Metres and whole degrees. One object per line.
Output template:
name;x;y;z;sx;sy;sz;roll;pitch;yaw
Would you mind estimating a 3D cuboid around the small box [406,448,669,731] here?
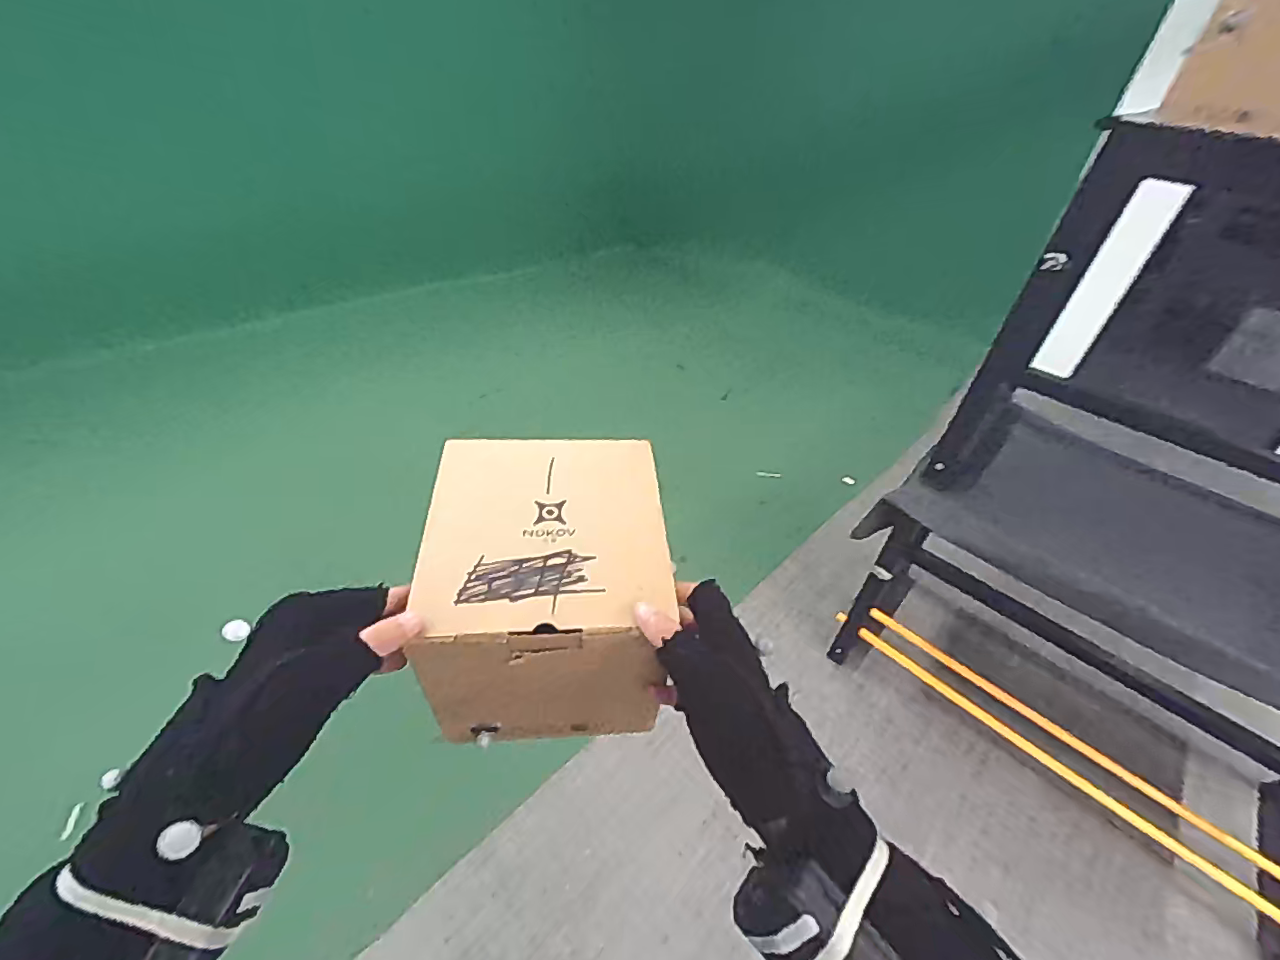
small box;-0.073;0.092;0.446;0.168;0.176;0.179;0;44;-7
